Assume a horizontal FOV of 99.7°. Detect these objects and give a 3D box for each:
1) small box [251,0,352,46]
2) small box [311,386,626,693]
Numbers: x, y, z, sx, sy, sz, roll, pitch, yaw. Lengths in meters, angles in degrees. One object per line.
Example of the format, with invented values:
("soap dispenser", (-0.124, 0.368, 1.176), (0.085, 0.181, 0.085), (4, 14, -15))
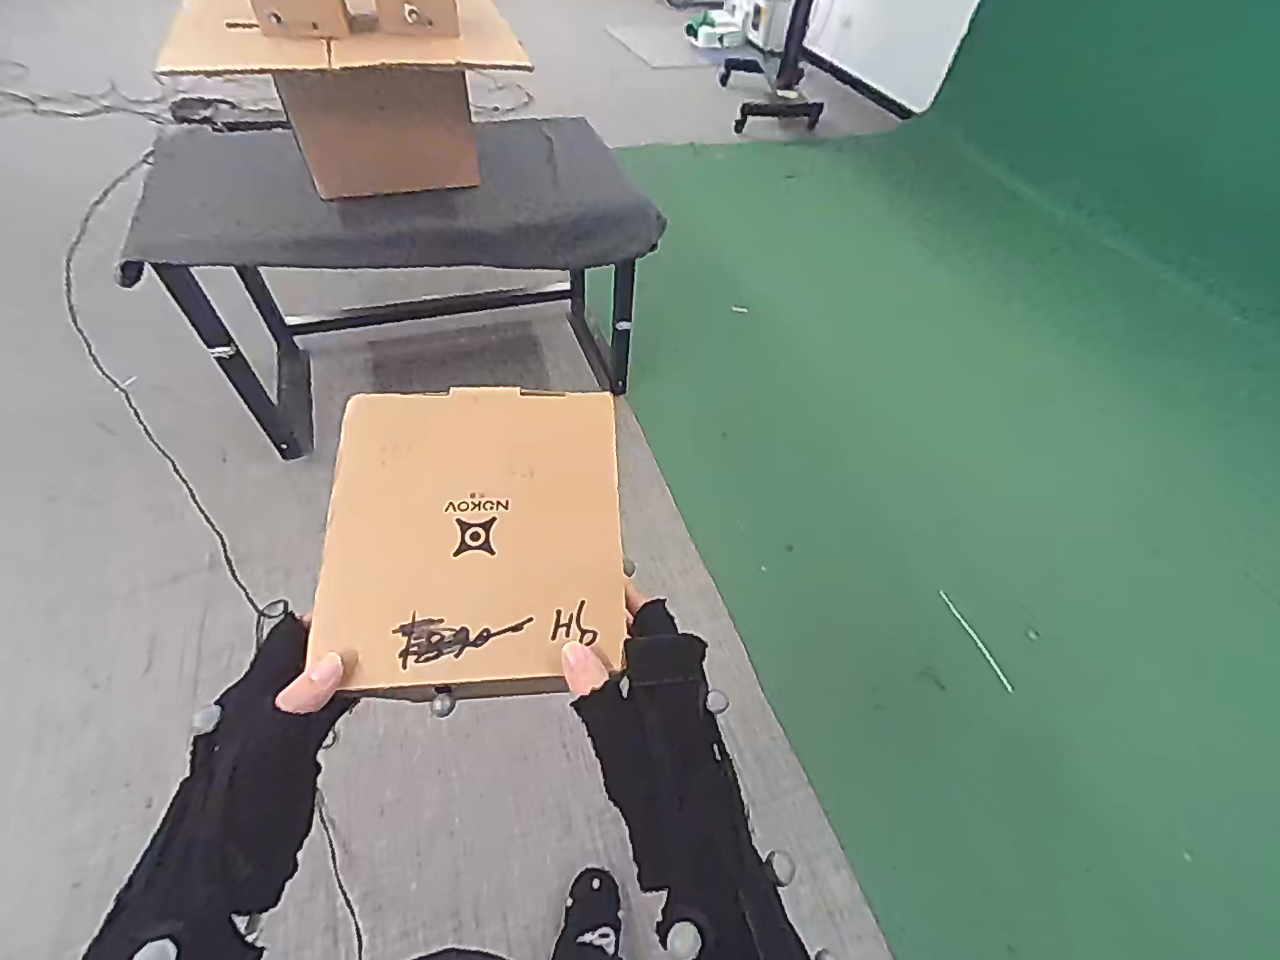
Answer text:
("small box", (-0.714, -1.028, 1.123), (0.168, 0.176, 0.179), (-12, 54, -14))
("small box", (-0.101, 0.051, 0.392), (0.168, 0.176, 0.179), (-2, 66, -6))
